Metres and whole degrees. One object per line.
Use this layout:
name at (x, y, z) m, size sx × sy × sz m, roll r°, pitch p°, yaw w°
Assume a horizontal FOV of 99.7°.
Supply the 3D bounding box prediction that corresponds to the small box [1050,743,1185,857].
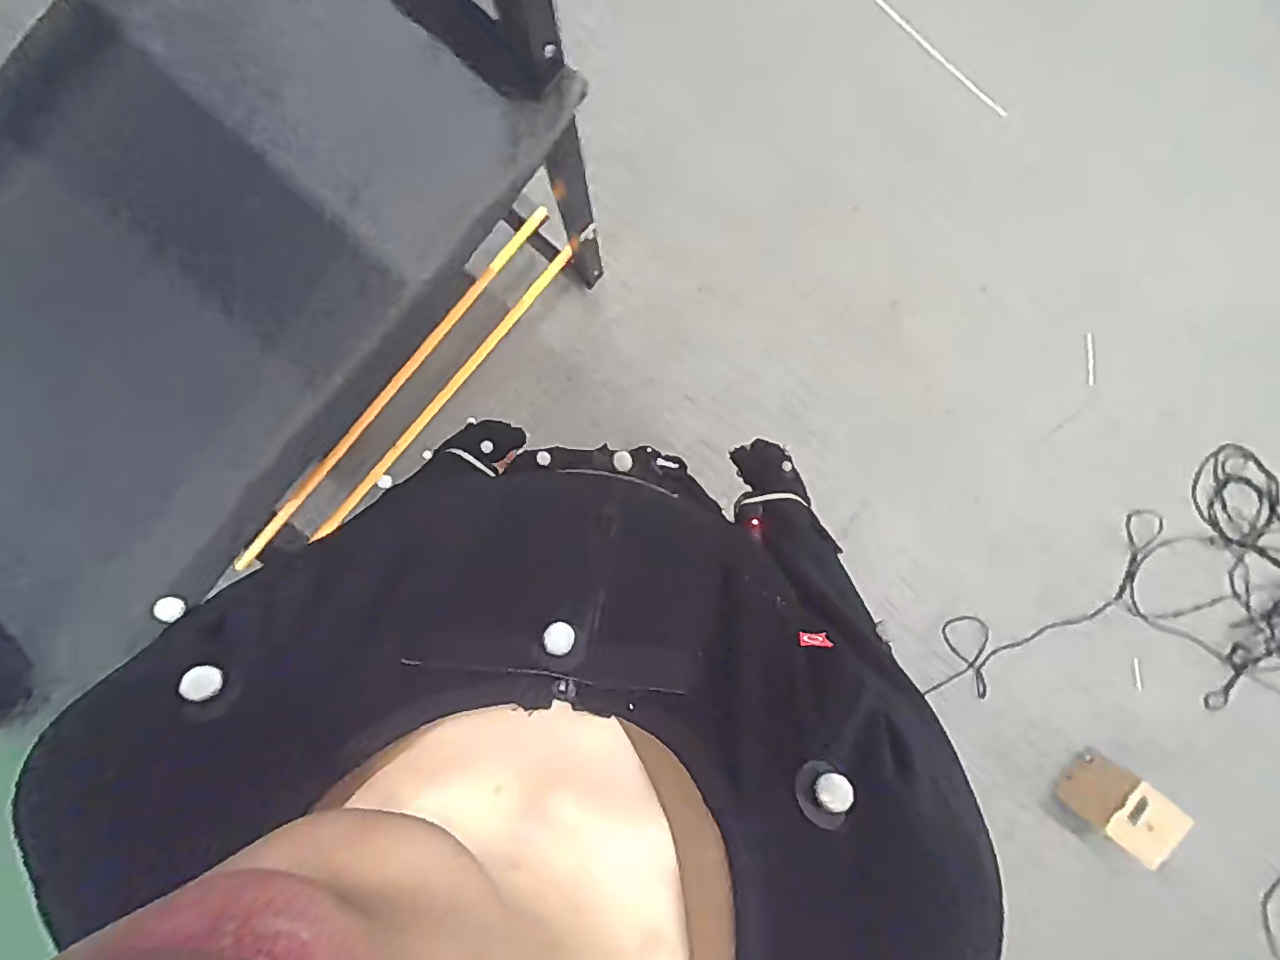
small box at (1.265, 0.842, 1.449) m, size 0.179 × 0.176 × 0.168 m, roll 39°, pitch 91°, yaw -3°
